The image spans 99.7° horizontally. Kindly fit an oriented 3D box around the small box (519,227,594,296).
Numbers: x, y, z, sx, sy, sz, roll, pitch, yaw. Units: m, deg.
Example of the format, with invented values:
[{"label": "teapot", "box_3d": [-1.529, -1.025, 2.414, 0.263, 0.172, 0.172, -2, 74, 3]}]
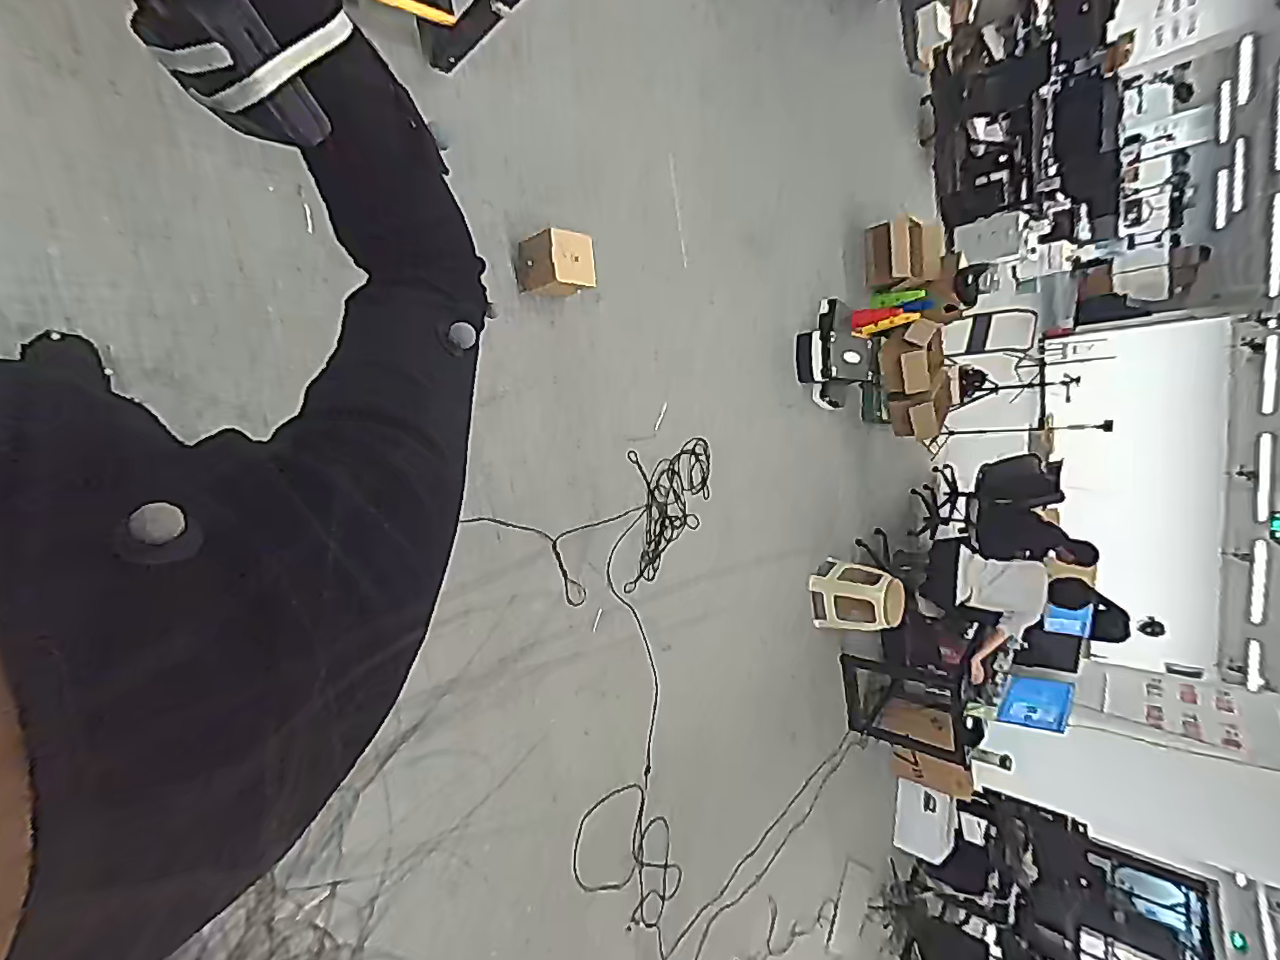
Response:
[{"label": "small box", "box_3d": [-0.279, -0.720, 1.802, 0.179, 0.176, 0.168, -12, 99, -46]}]
